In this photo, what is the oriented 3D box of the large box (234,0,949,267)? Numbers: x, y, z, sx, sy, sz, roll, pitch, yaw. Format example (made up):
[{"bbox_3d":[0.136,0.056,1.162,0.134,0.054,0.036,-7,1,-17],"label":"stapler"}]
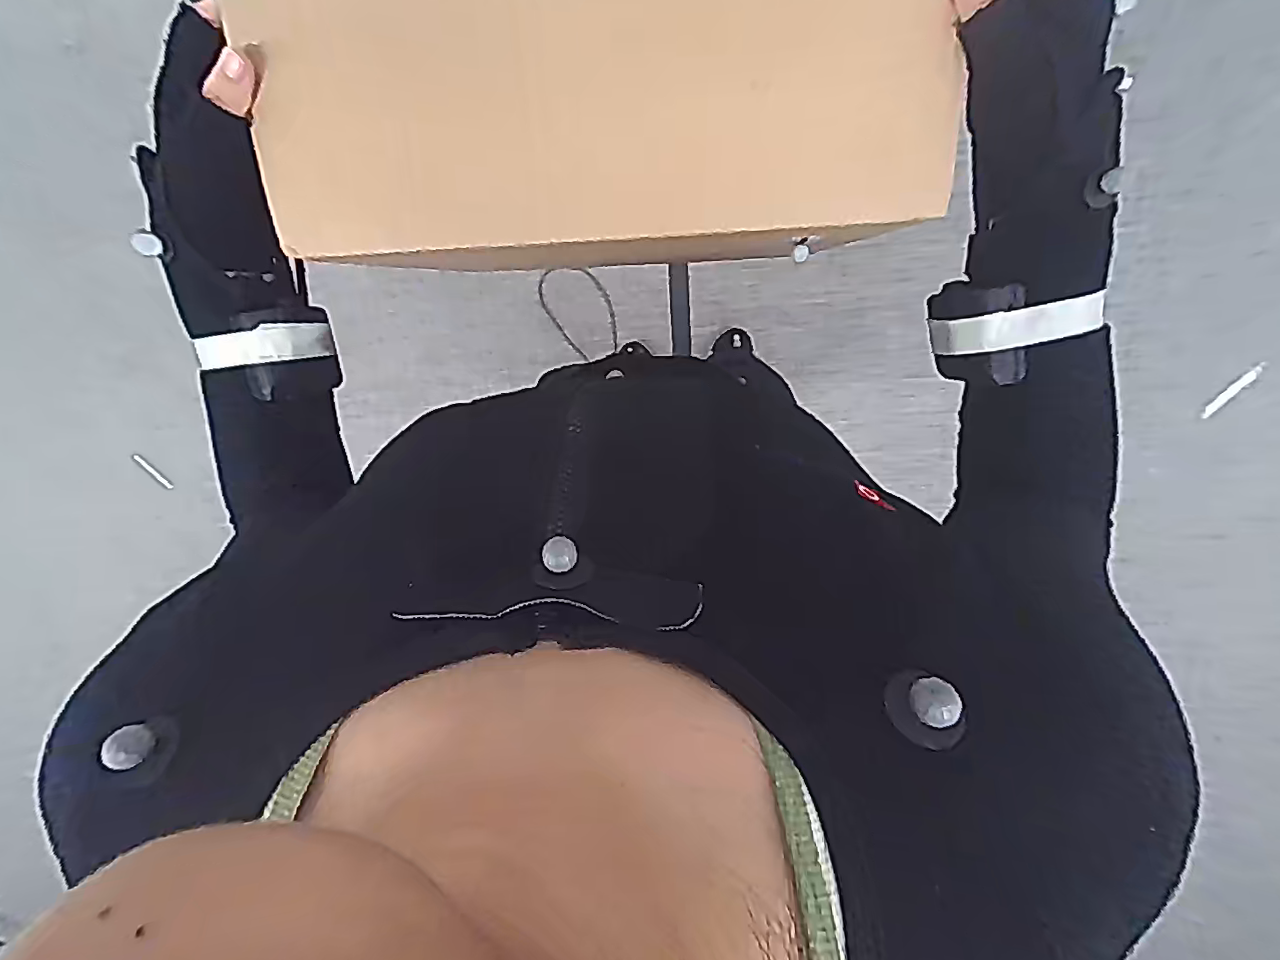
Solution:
[{"bbox_3d":[-0.024,-0.347,0.428,0.408,0.320,0.320,-2,109,3],"label":"large box"}]
